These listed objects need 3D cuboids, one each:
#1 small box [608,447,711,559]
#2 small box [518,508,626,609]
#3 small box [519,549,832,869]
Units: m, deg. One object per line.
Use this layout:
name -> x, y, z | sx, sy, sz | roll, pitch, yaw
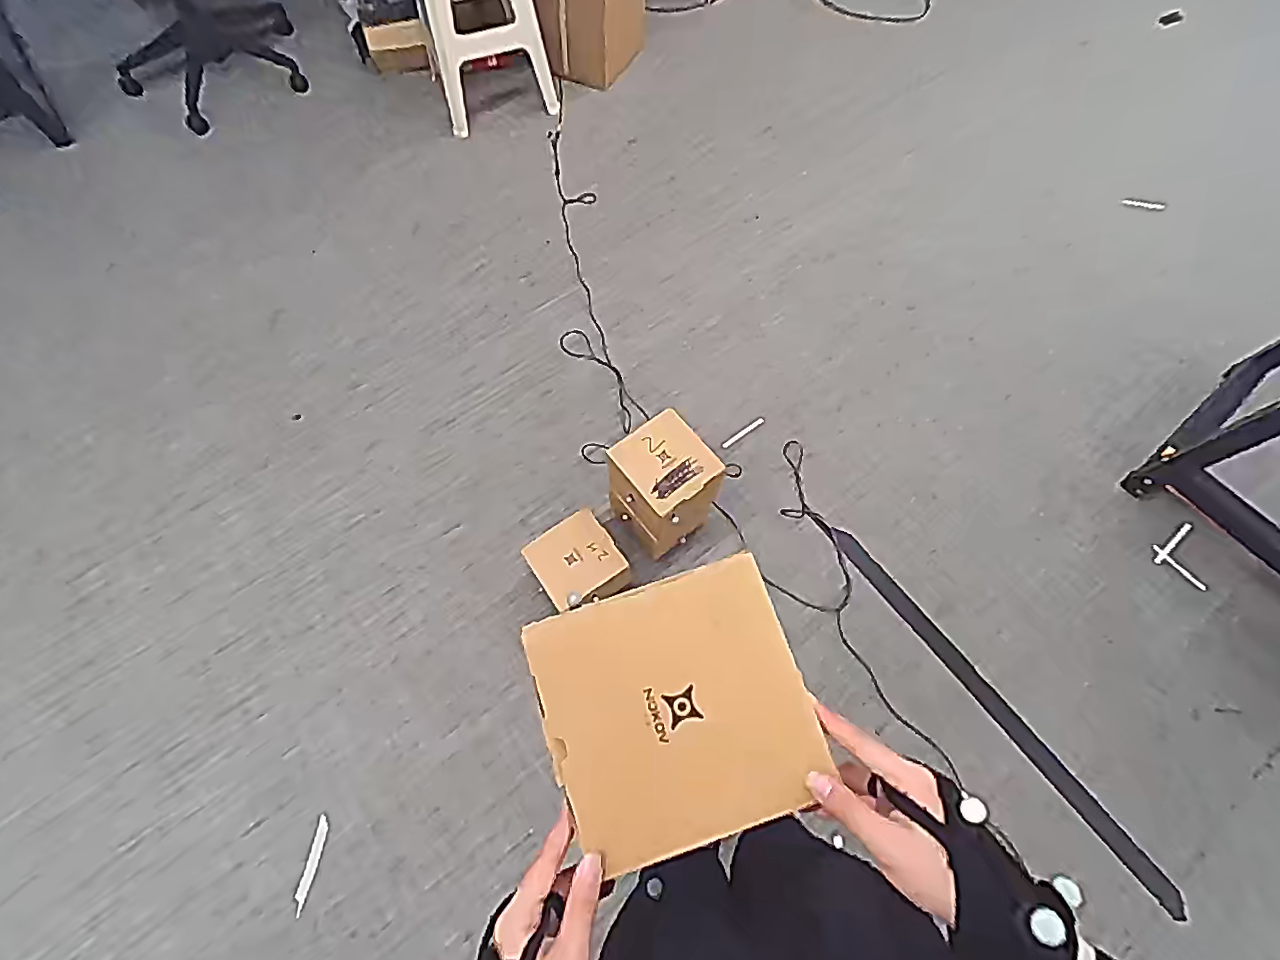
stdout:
small box -> 0.039, 0.059, 1.270 | 0.168, 0.176, 0.179 | -36, 73, -14
small box -> -0.143, 0.196, 1.212 | 0.179, 0.176, 0.168 | -33, 72, -13
small box -> 0.023, 0.165, 0.443 | 0.179, 0.176, 0.168 | -19, 77, -2
